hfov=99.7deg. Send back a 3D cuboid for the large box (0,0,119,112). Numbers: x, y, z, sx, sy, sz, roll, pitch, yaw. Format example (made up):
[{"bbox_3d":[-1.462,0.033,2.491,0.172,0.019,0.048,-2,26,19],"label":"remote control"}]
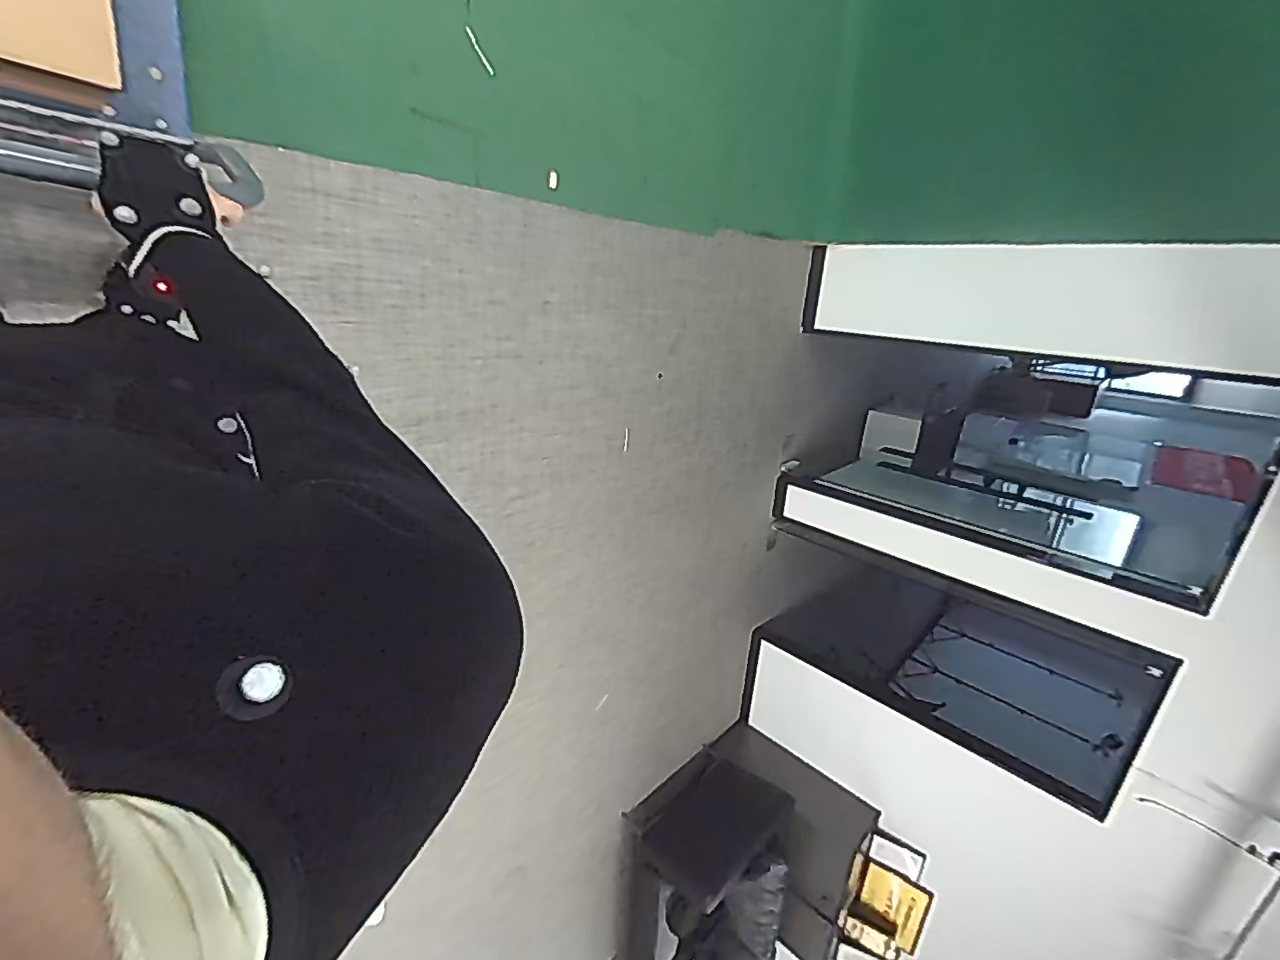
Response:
[{"bbox_3d":[-0.916,-0.756,0.683,0.320,0.320,0.408,-11,117,-45],"label":"large box"}]
